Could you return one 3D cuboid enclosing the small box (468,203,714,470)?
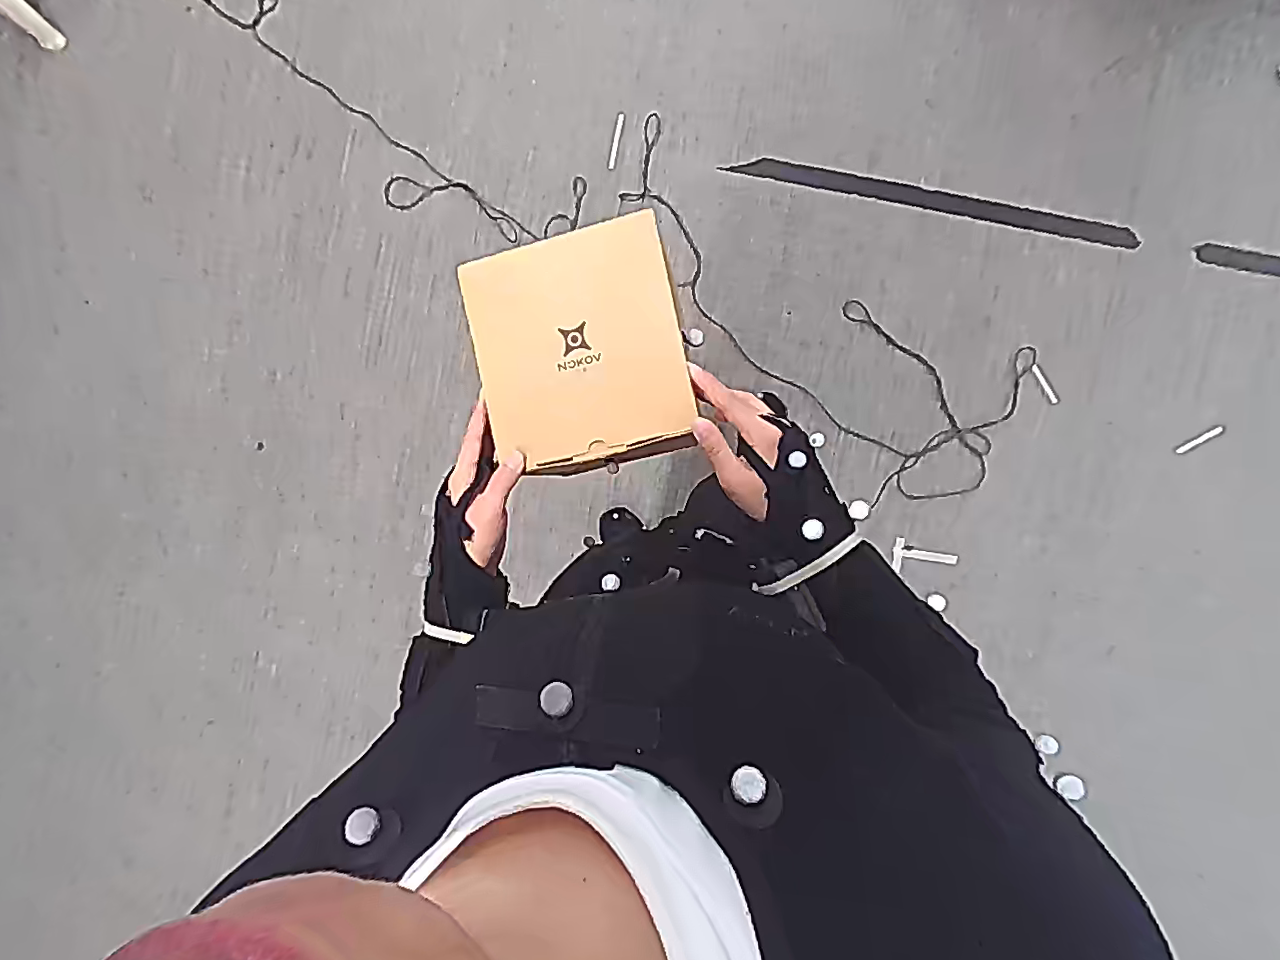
[{"bbox_3d":[-0.031,-0.109,0.493,0.168,0.176,0.179,-12,89,8],"label":"small box"}]
